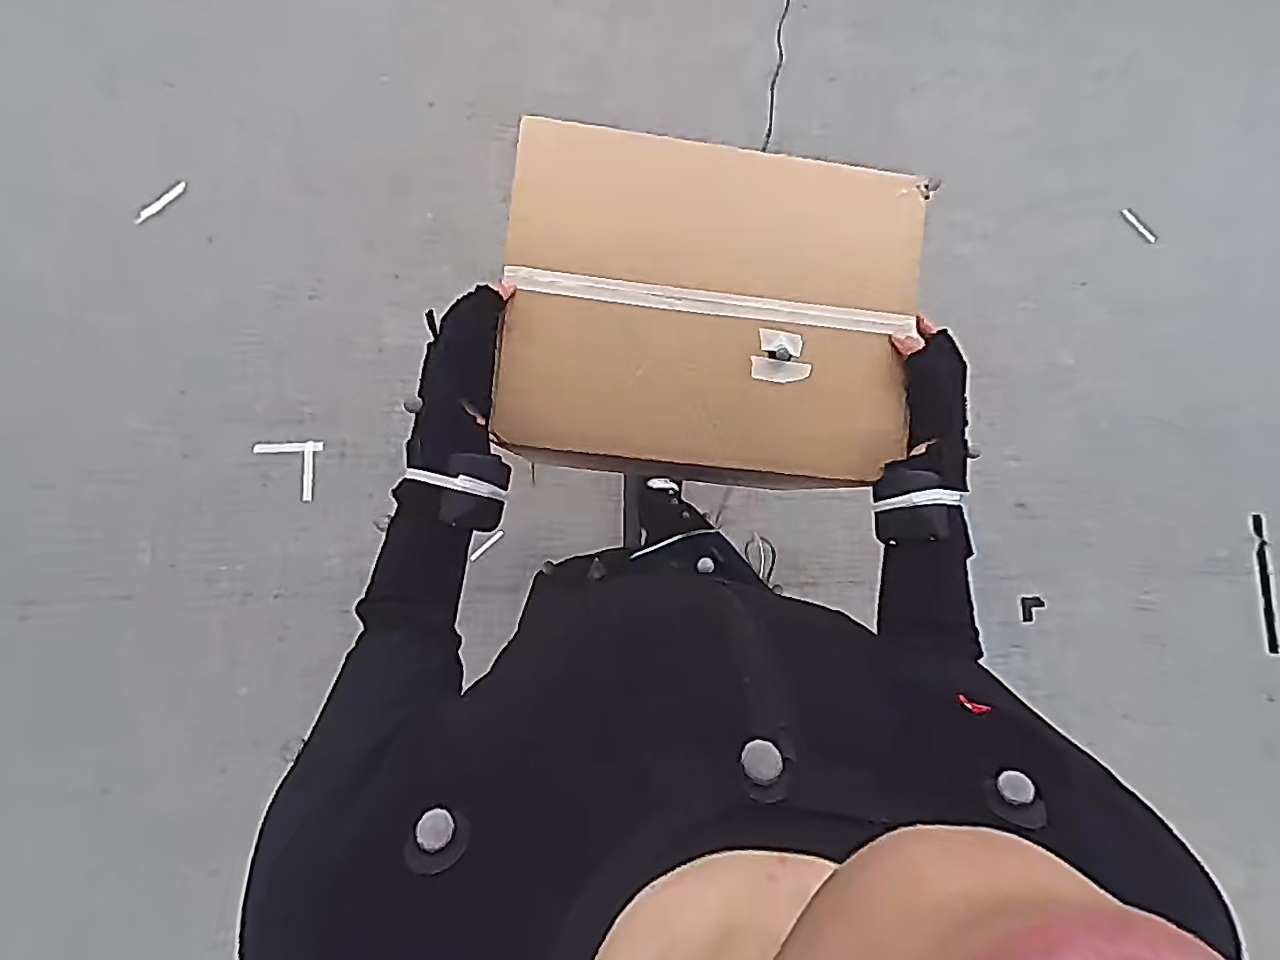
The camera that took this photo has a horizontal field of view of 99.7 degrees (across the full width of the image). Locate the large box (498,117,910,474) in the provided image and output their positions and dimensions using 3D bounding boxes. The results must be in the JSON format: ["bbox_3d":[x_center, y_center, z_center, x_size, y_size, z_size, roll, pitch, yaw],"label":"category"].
[{"bbox_3d":[0.056,-0.182,0.687,0.408,0.320,0.320,6,89,-5],"label":"large box"}]
